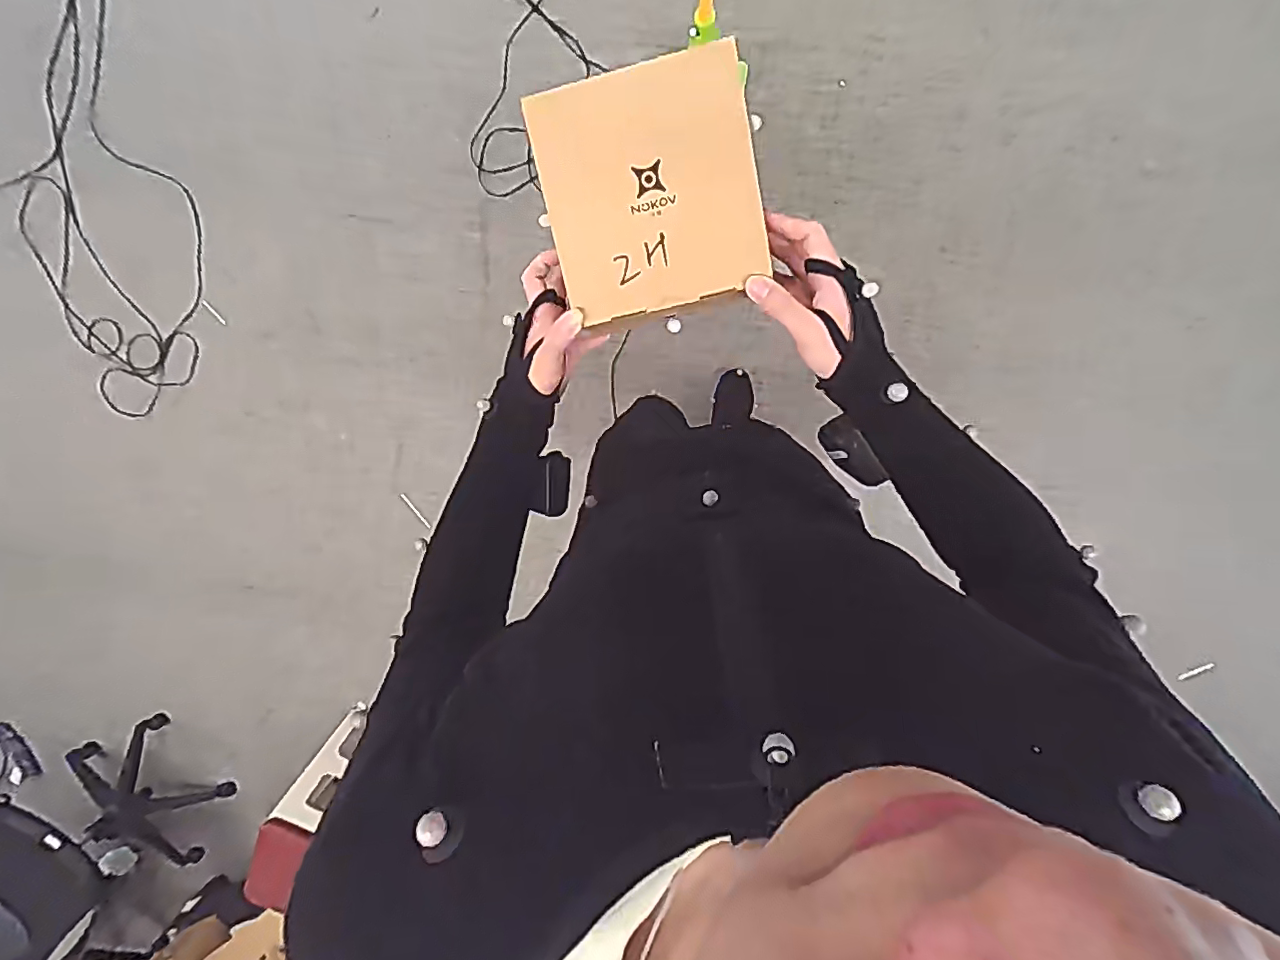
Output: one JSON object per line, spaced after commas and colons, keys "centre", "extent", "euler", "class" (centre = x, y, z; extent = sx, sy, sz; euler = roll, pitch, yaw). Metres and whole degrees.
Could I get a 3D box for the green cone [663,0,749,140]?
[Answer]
{"centre": [0.147, -0.966, 1.231], "extent": [0.202, 0.368, 0.200], "euler": [10, 101, 6], "class": "green cone"}
